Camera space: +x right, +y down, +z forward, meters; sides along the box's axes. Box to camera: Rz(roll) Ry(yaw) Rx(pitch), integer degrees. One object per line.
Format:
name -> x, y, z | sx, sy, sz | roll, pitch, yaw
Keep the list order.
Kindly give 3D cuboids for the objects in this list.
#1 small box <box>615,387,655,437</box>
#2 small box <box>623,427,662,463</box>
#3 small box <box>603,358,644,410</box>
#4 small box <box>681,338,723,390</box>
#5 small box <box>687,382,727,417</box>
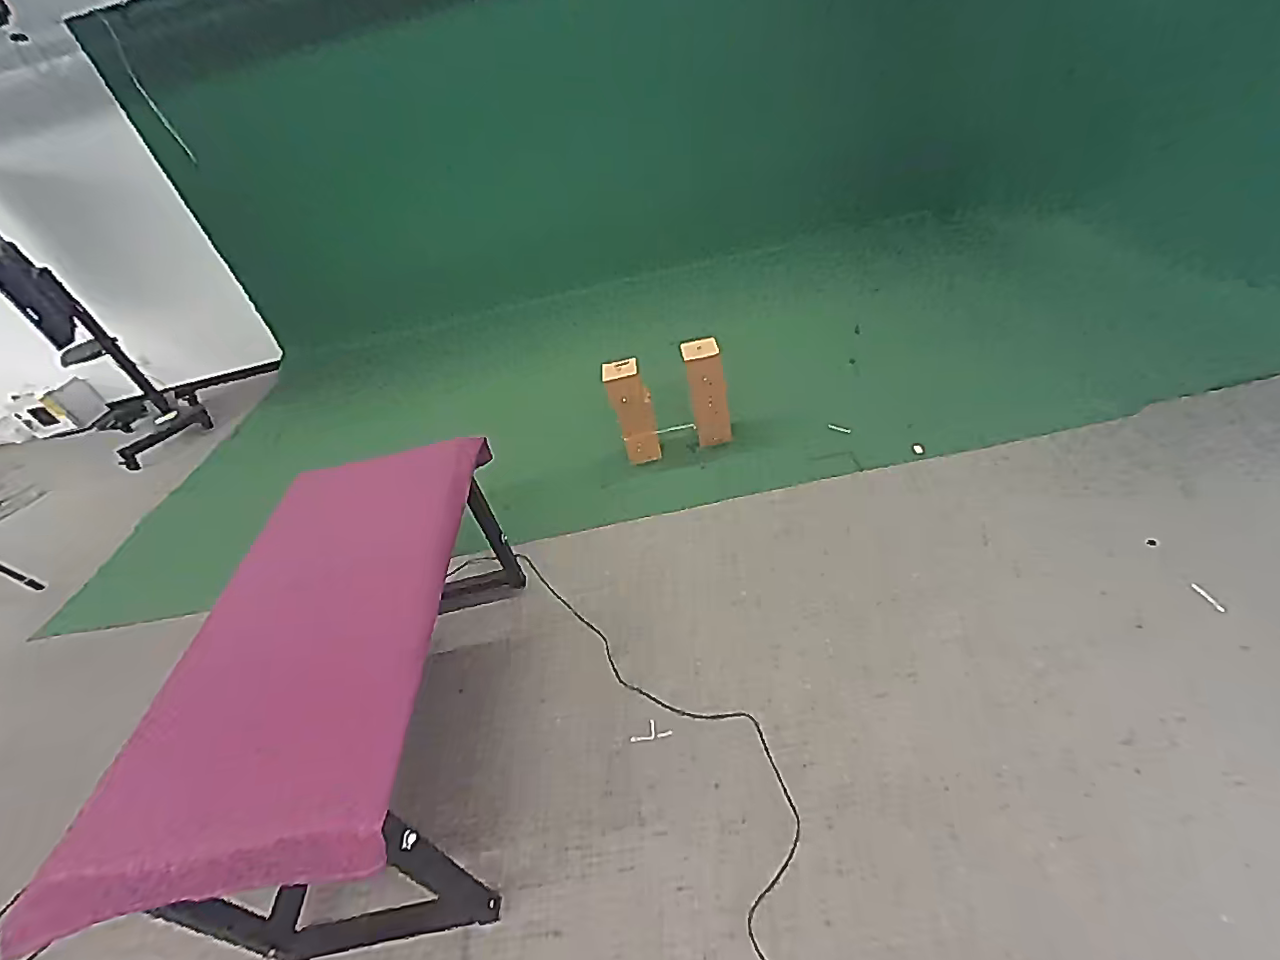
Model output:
small box -> -0.027, -0.337, 2.691 | 0.179, 0.176, 0.168 | -14, 37, 2
small box -> 0.008, -0.204, 2.777 | 0.168, 0.176, 0.179 | -14, 37, 2
small box -> -0.078, -0.459, 2.593 | 0.168, 0.176, 0.179 | -12, 37, 5
small box -> 0.294, -0.550, 2.573 | 0.168, 0.176, 0.179 | -11, 39, 6
small box -> 0.331, -0.425, 2.674 | 0.168, 0.176, 0.179 | -11, 40, 4
